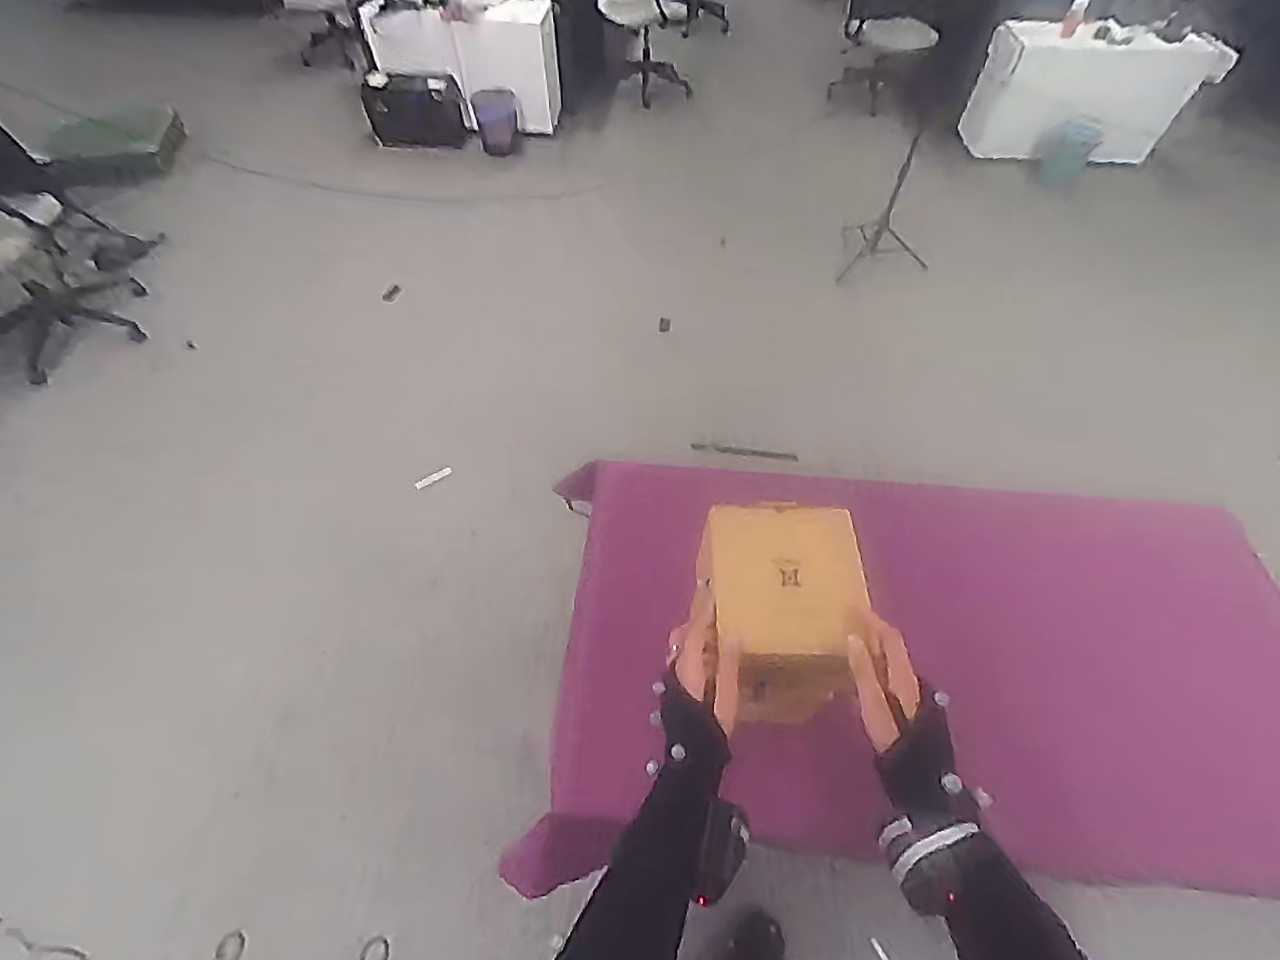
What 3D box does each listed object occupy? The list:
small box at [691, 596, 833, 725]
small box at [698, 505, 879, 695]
[{"bbox_3d":[0.164,0.243,0.790,0.168,0.176,0.179,3,55,1],"label":"small box"},{"bbox_3d":[0.161,0.148,0.656,0.168,0.176,0.179,2,57,1],"label":"small box"}]
